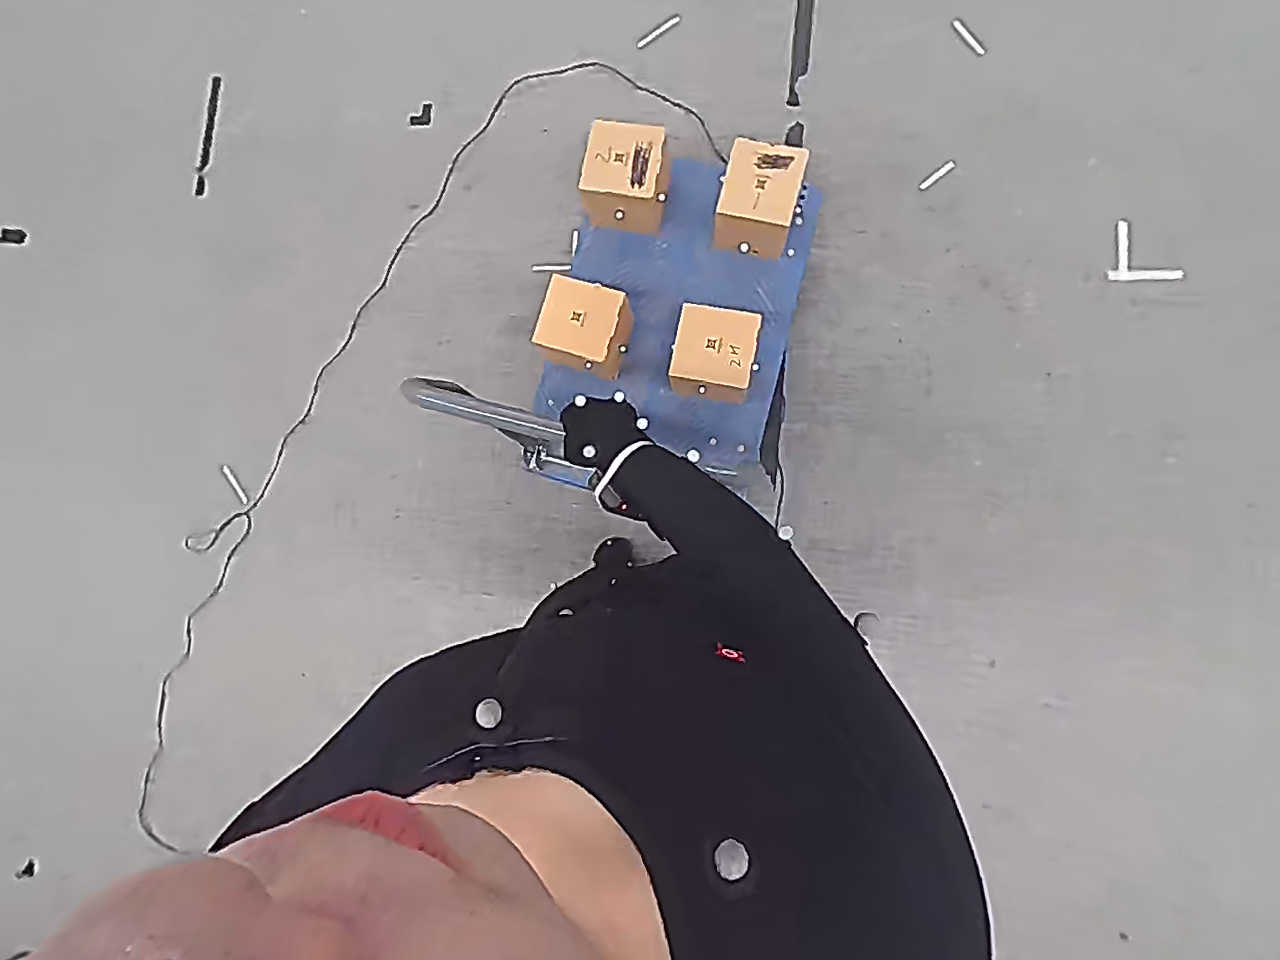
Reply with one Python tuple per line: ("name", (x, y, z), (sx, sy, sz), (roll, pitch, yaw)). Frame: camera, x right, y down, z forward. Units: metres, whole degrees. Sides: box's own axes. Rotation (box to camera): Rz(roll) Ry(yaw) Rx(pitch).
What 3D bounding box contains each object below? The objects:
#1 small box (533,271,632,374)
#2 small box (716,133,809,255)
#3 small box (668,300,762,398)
("small box", (-0.129, -0.364, 1.281), (0.179, 0.176, 0.168), (17, 89, 5))
("small box", (0.274, -0.653, 1.250), (0.168, 0.176, 0.179), (15, 90, 7))
("small box", (0.171, -0.294, 1.243), (0.179, 0.176, 0.168), (12, 89, 7))
